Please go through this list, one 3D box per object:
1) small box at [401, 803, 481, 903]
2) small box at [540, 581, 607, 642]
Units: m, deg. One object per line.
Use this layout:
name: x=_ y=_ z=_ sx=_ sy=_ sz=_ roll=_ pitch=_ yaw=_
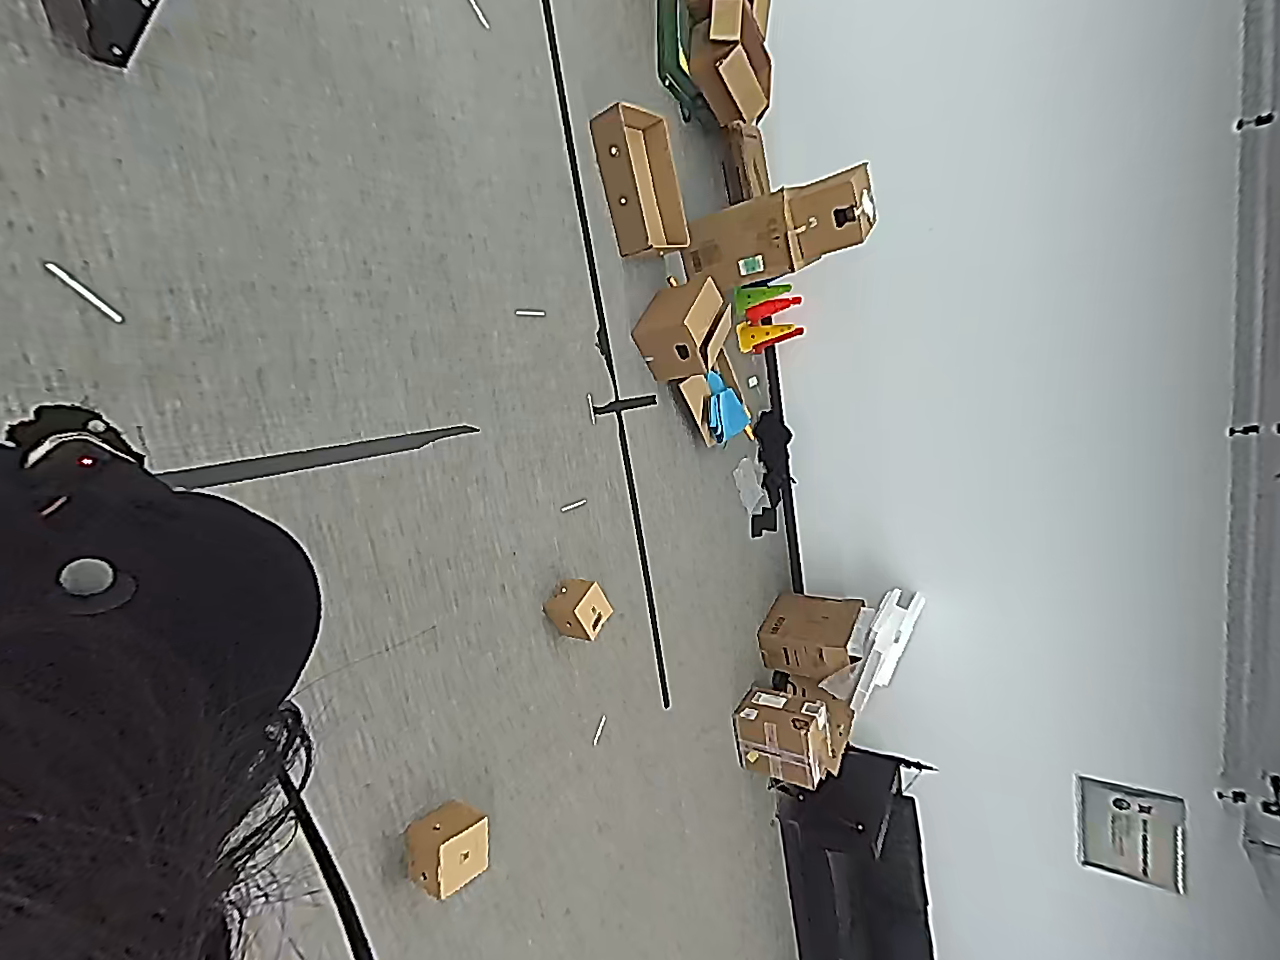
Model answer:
small box: x=-0.615 y=1.139 z=1.665 sx=0.179 sy=0.176 sz=0.168 roll=-1 pitch=90 yaw=-56
small box: x=-0.268 y=0.522 z=2.177 sx=0.168 sy=0.176 sz=0.179 roll=-52 pitch=128 yaw=-43
